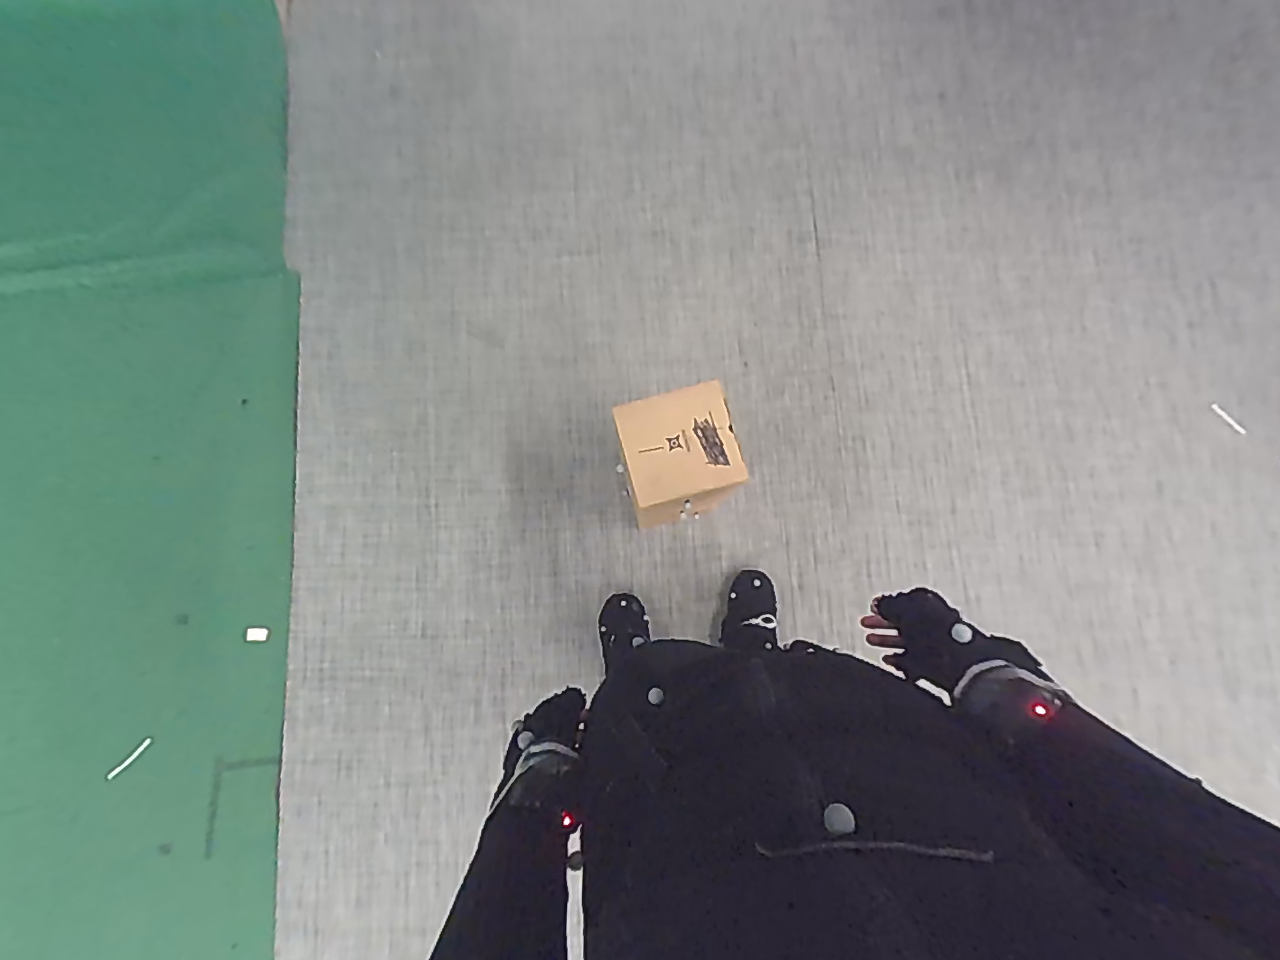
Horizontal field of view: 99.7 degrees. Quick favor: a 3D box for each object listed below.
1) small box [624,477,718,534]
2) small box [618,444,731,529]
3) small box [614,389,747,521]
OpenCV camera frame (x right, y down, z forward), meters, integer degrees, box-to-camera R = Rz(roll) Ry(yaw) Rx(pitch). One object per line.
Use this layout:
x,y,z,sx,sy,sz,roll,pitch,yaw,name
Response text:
0.063,0.021,1.235,0.179,0.176,0.168,-16,81,-1,small box
0.062,-0.007,1.076,0.179,0.176,0.168,-18,82,-1,small box
0.062,-0.034,0.911,0.179,0.176,0.168,-15,81,-1,small box
